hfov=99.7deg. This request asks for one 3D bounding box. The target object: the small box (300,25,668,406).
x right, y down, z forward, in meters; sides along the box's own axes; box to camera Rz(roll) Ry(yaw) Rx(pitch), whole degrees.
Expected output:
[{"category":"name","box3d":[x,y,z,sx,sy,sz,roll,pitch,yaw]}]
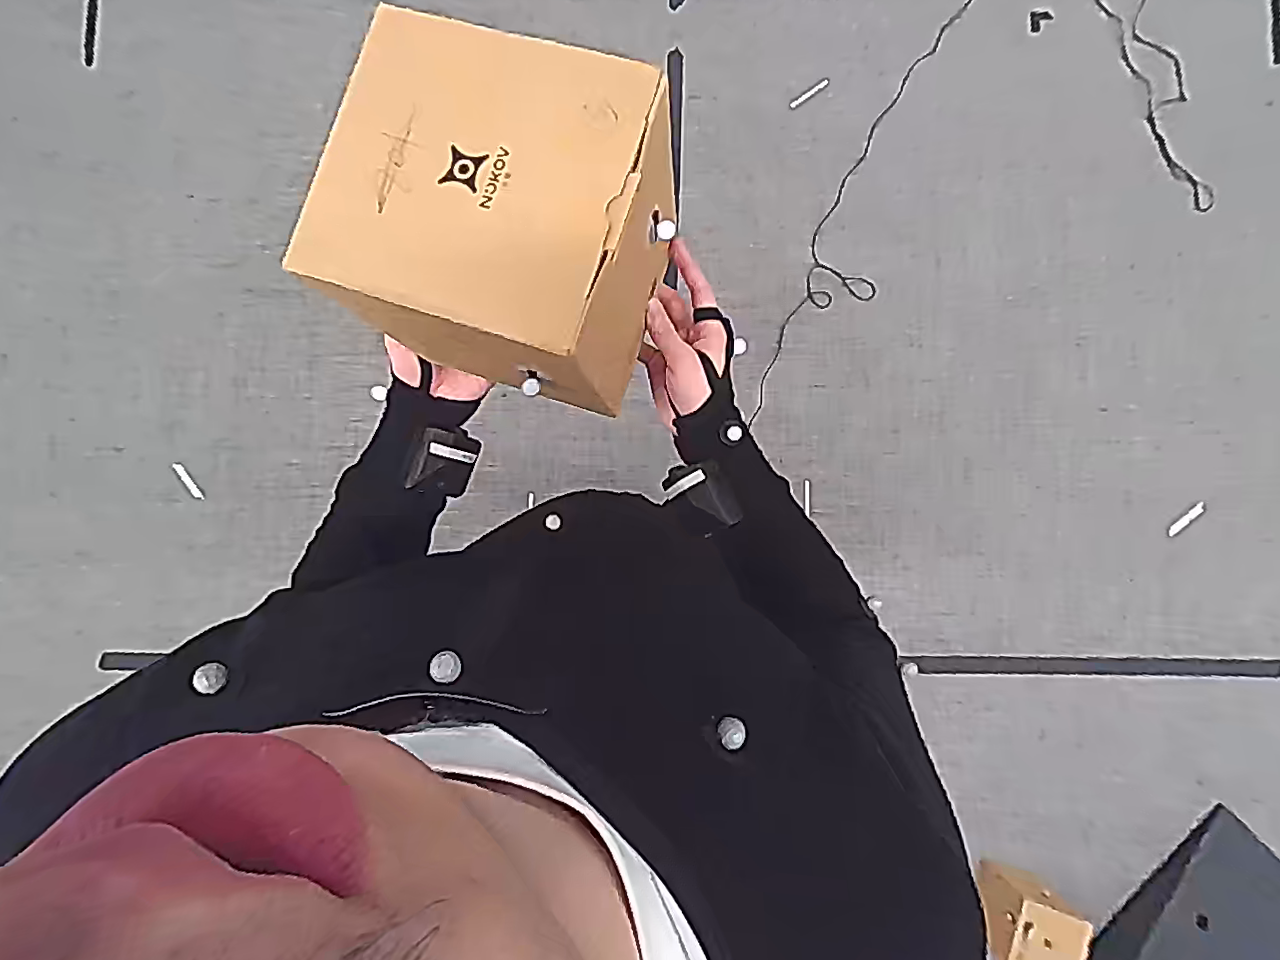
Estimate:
[{"category":"small box","box3d":[-0.084,-0.163,0.387,0.179,0.176,0.168,17,85,8]}]
